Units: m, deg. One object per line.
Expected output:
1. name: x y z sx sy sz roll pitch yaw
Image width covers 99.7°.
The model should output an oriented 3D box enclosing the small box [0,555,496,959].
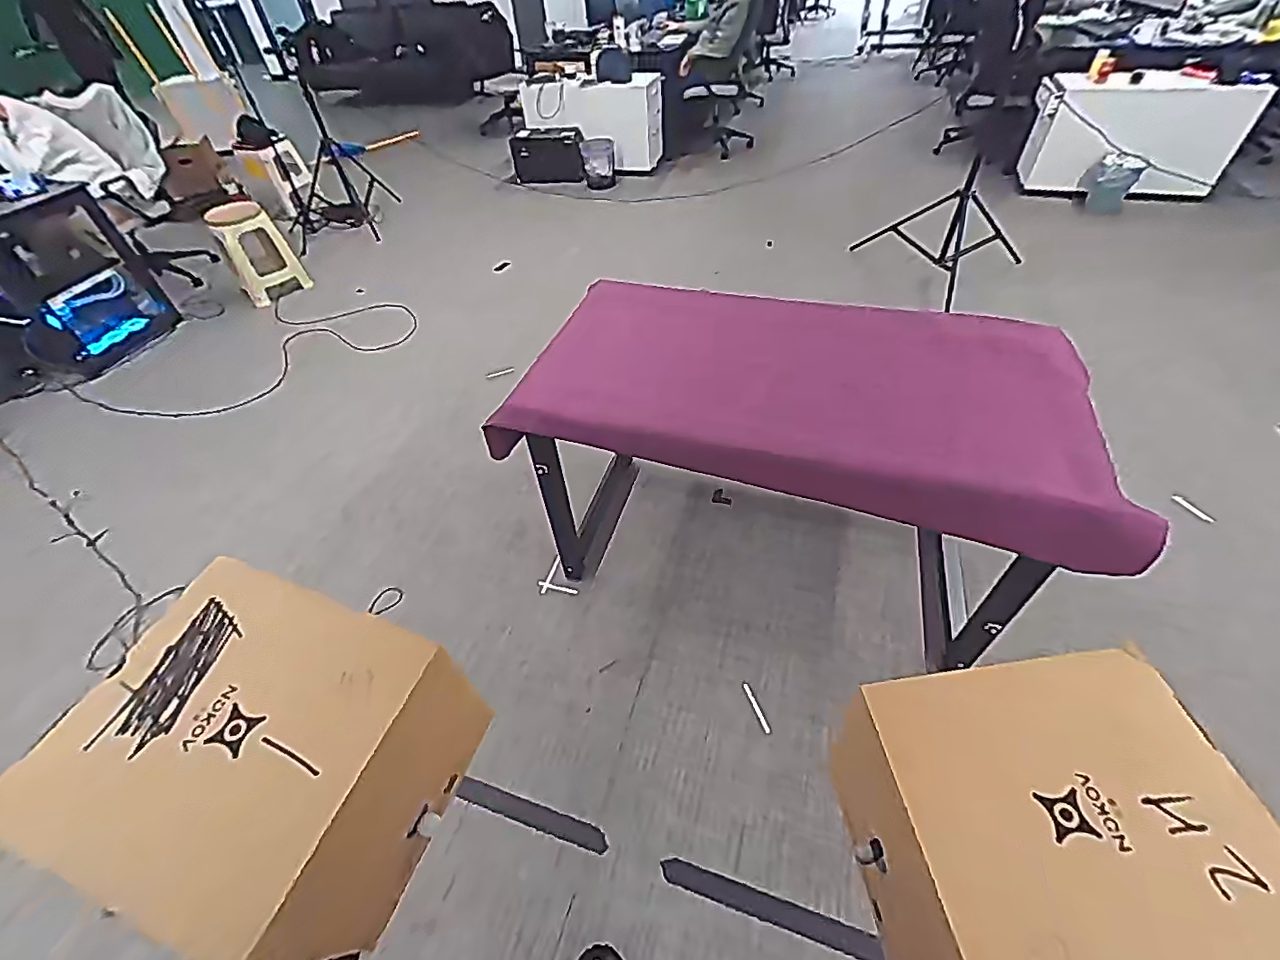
1. small box: -0.225 0.183 0.367 0.179 0.176 0.168 18 55 11

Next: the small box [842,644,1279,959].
1. small box: 0.242 0.228 0.344 0.179 0.176 0.168 -9 48 2
